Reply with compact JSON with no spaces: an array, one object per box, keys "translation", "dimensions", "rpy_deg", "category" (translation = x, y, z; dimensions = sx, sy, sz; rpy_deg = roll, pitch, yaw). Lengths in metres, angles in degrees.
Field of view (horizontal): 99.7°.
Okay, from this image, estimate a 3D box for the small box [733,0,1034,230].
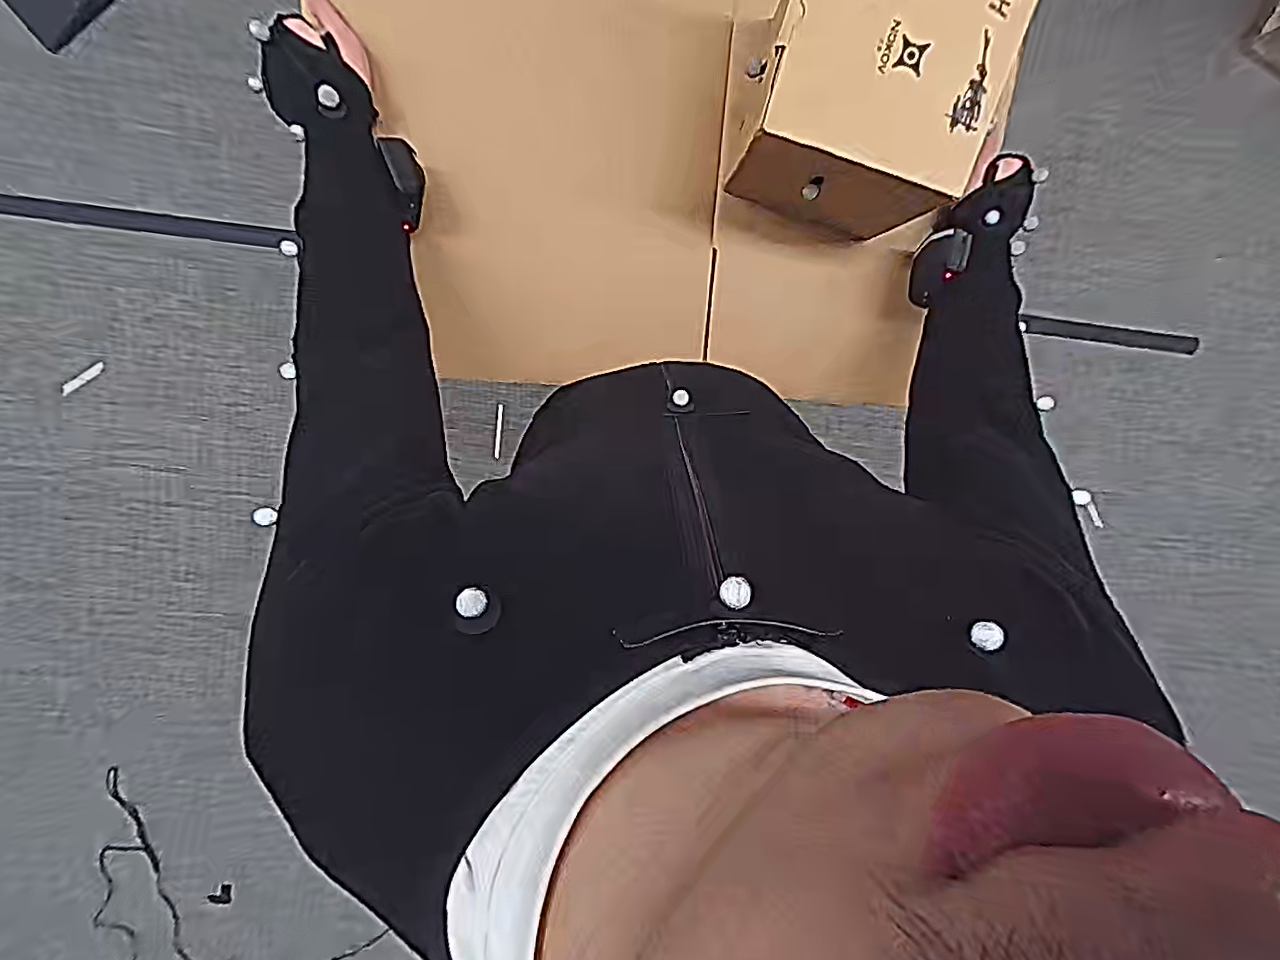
[{"translation":[0.199,-0.349,0.495],"dimensions":[0.179,0.176,0.168],"rpy_deg":[16,103,-4],"category":"small box"}]
